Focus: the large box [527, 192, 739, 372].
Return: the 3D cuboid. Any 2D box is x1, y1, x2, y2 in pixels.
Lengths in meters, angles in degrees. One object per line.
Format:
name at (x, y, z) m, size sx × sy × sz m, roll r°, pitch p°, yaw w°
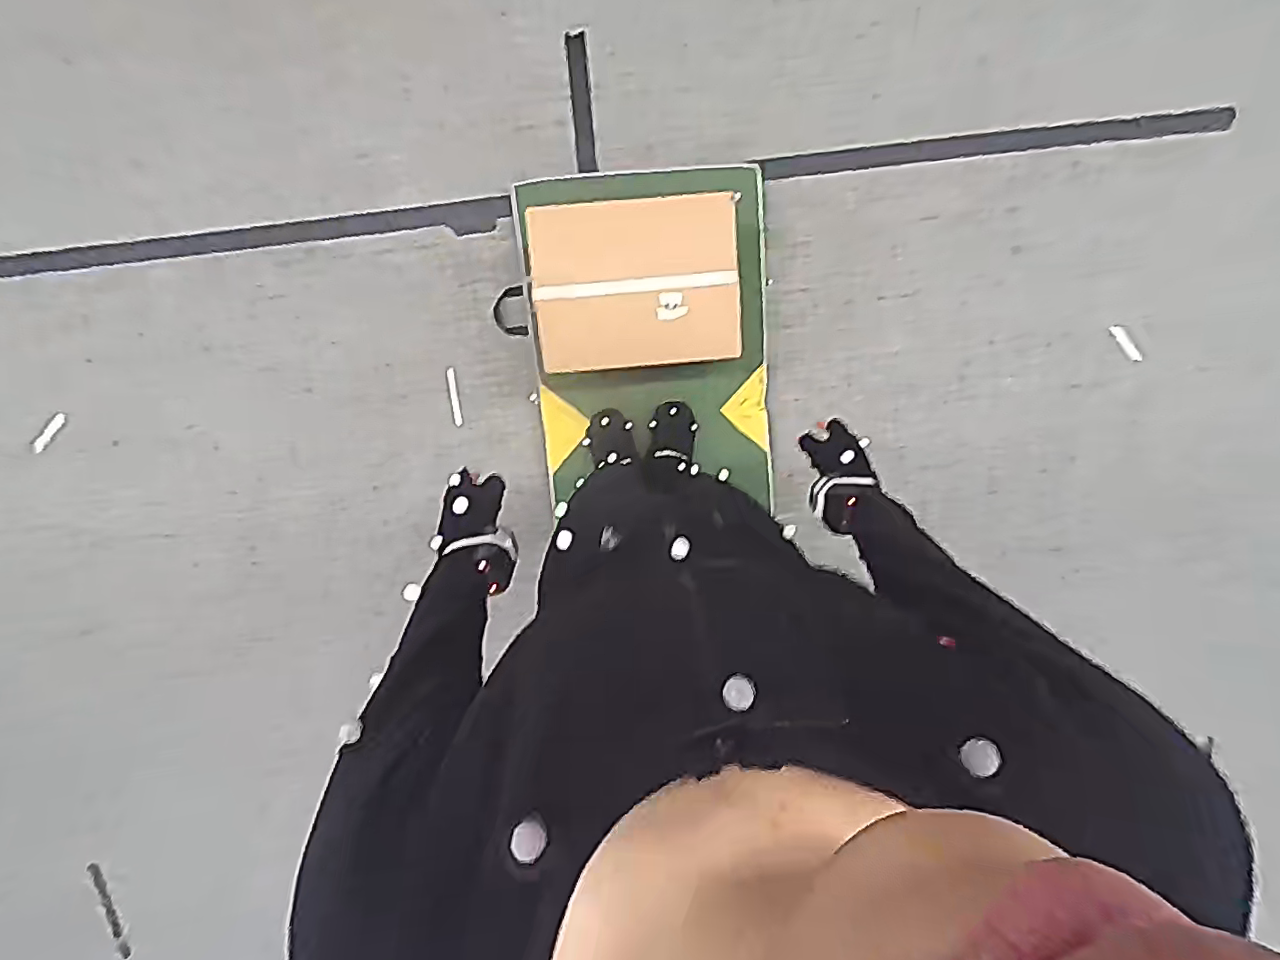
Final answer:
large box at (-0.016, -0.424, 1.227) m, size 0.408 × 0.320 × 0.320 m, roll -6°, pitch 104°, yaw -2°
